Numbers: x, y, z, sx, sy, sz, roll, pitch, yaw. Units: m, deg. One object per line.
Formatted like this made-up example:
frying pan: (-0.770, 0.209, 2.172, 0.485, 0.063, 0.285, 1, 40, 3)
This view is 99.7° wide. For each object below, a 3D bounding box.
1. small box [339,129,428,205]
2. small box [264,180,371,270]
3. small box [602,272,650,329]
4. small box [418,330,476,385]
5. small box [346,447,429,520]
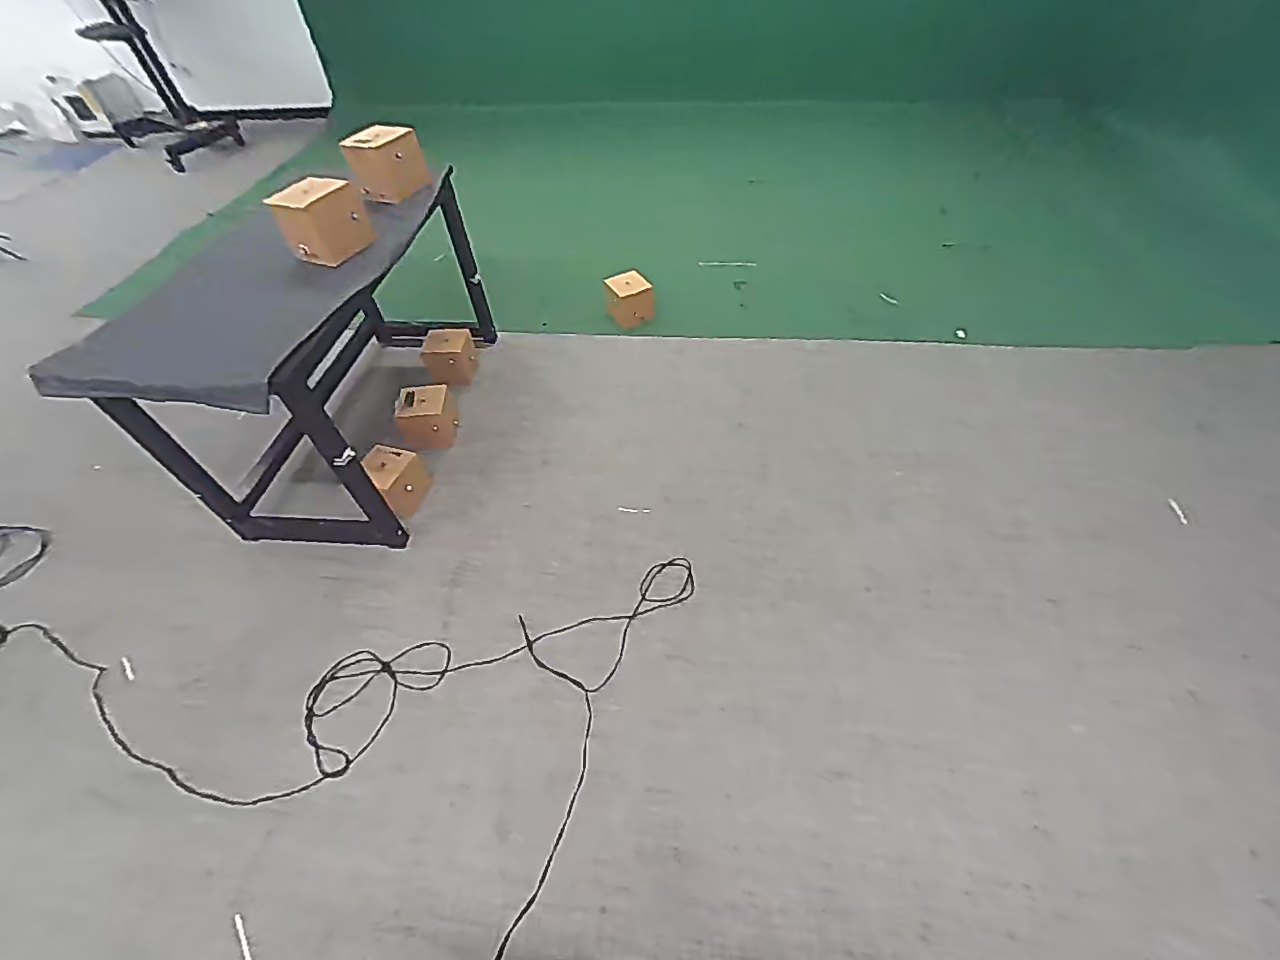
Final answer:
small box: (-0.837, -1.032, 1.784, 0.168, 0.176, 0.179, 18, 55, 20)
small box: (-0.904, -0.726, 1.540, 0.168, 0.176, 0.179, 16, 54, 20)
small box: (-0.063, -0.842, 2.539, 0.168, 0.176, 0.179, -25, 54, -17)
small box: (-0.816, -0.520, 2.309, 0.179, 0.176, 0.168, -1, 50, 2)
small box: (-0.862, 0.015, 1.869, 0.168, 0.176, 0.179, 12, 53, 13)
